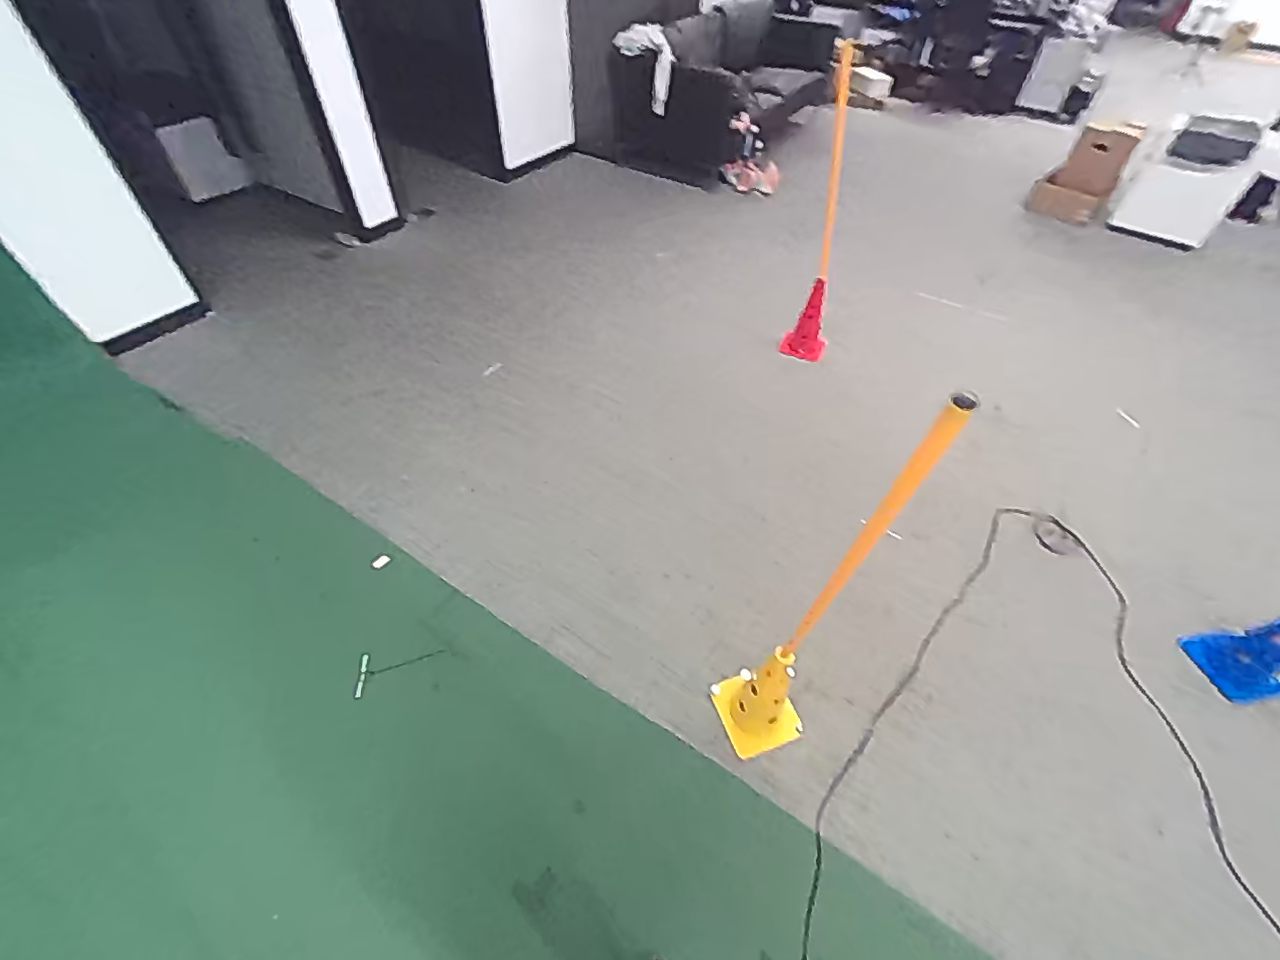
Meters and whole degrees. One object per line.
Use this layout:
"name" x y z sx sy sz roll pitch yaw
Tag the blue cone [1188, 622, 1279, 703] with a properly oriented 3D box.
"blue cone" 1.750 0.433 1.463 0.193 0.380 0.192 -6 48 -12
